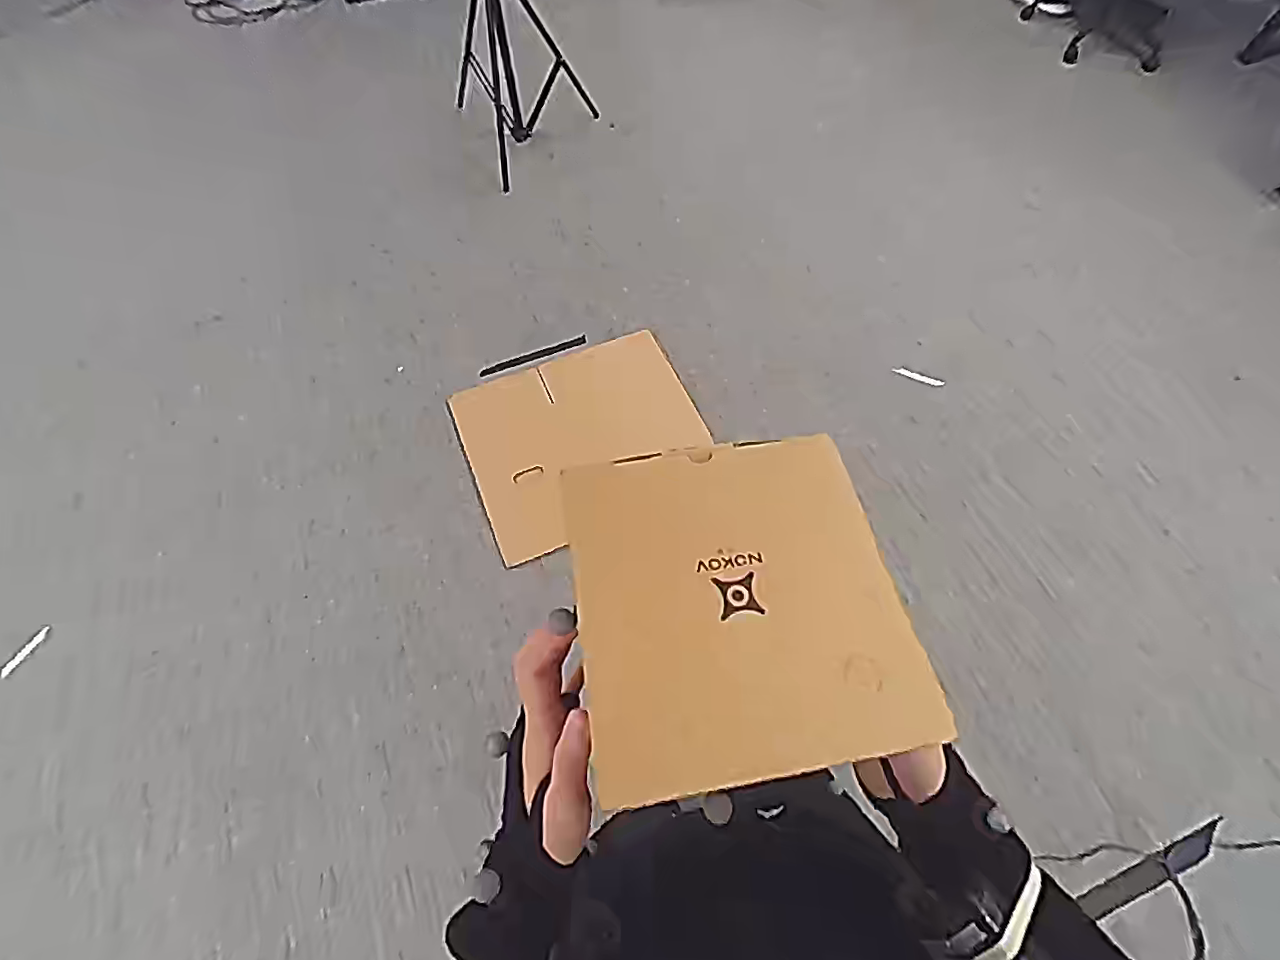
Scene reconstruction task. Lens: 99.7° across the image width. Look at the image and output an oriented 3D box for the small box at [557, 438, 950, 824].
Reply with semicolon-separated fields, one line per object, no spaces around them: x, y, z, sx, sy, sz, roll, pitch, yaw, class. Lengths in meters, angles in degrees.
0.045;0.100;0.343;0.168;0.176;0.179;-8;59;-6;small box
